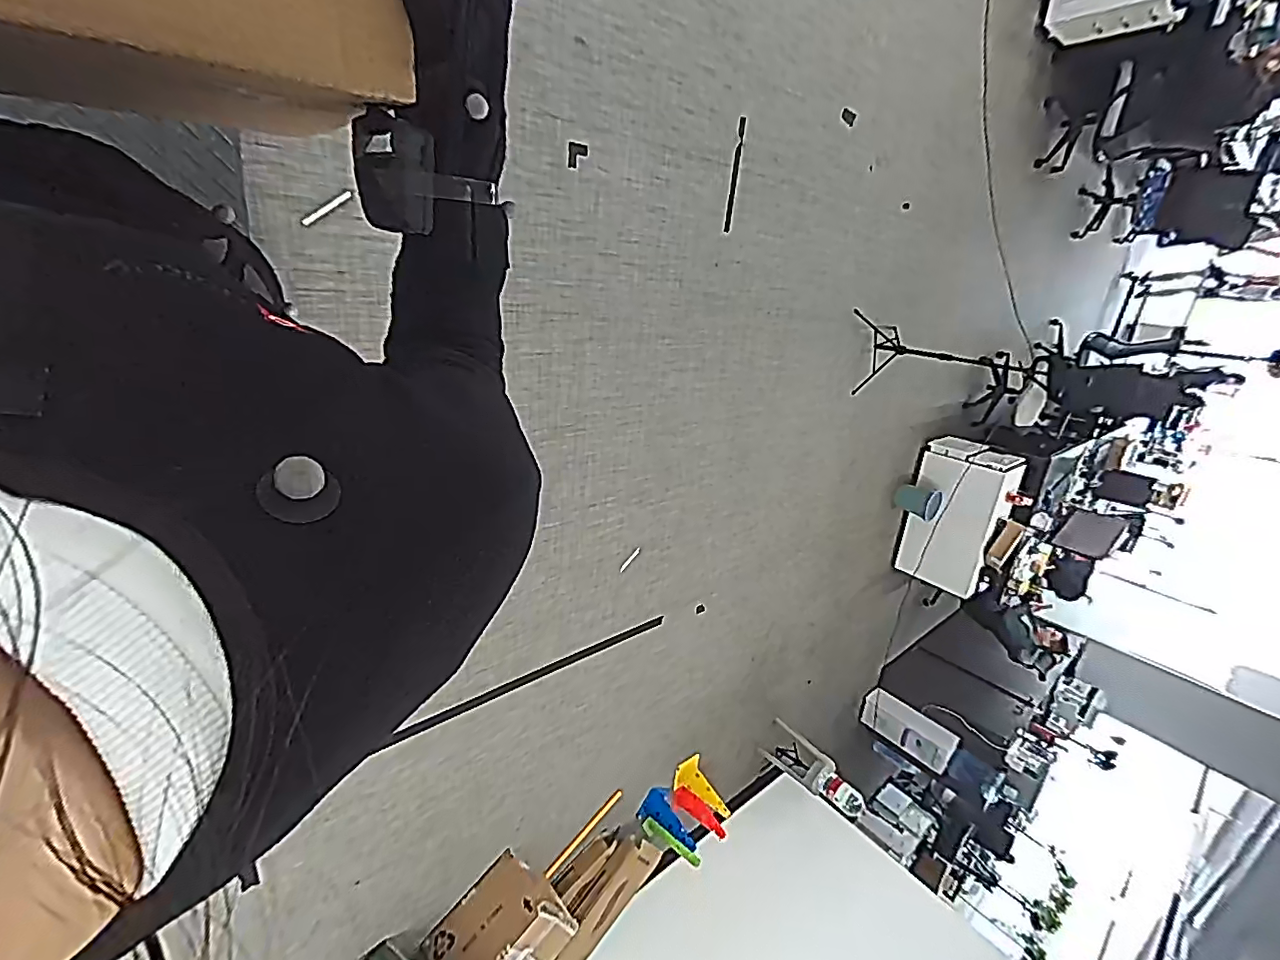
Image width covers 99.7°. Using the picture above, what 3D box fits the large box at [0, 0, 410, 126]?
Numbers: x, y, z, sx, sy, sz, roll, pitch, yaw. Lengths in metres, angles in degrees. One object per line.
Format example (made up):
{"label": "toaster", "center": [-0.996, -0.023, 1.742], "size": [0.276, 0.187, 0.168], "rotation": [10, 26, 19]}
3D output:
{"label": "large box", "center": [-0.374, -0.379, 0.243], "size": [0.408, 0.320, 0.320], "rotation": [-15, 123, -36]}
